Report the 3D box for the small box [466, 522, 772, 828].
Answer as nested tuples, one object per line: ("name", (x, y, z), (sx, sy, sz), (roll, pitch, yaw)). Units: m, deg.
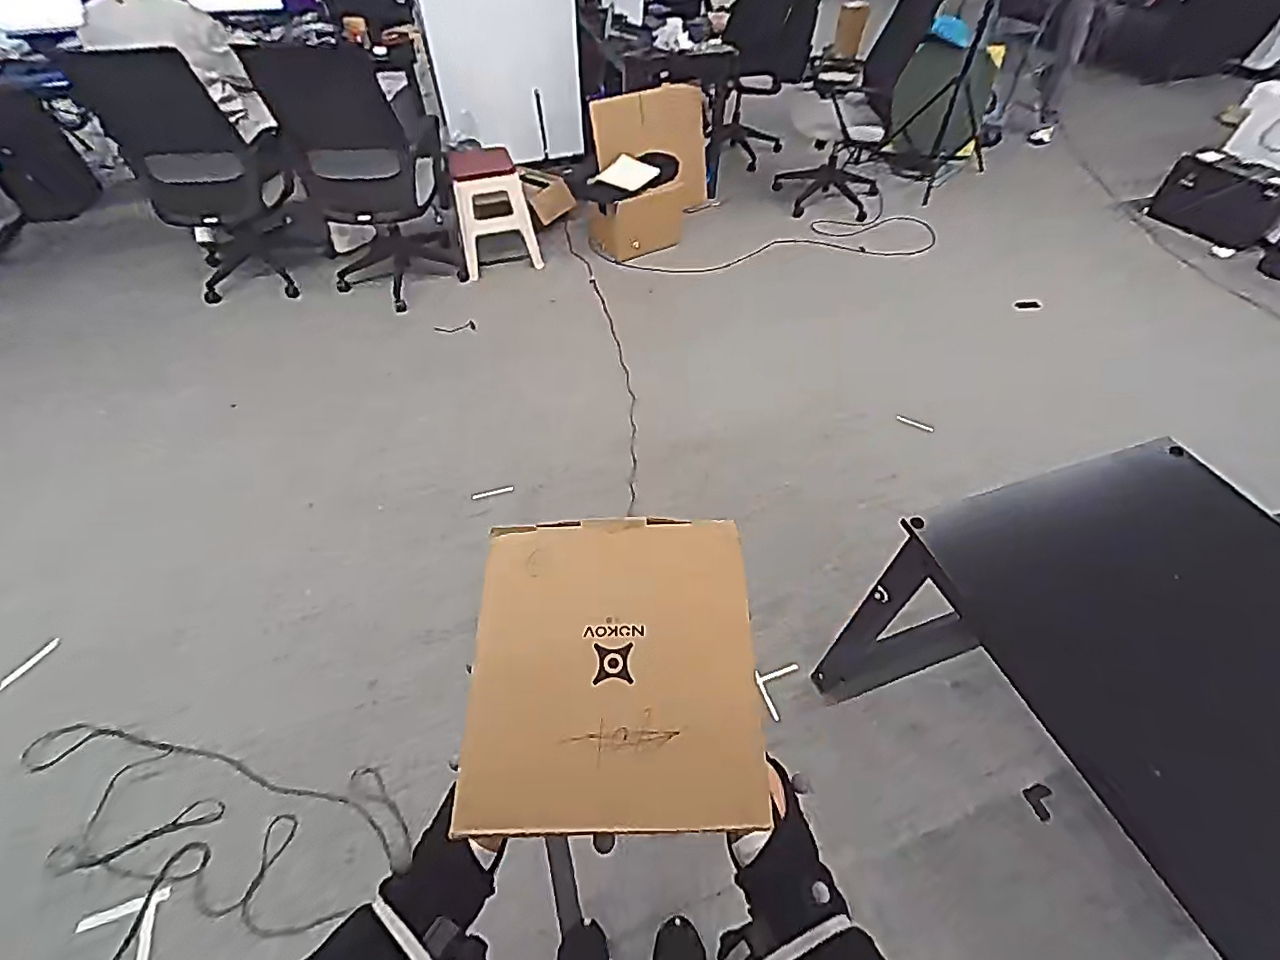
("small box", (-0.013, 0.146, 0.395), (0.168, 0.176, 0.179), (-2, 61, 0))
